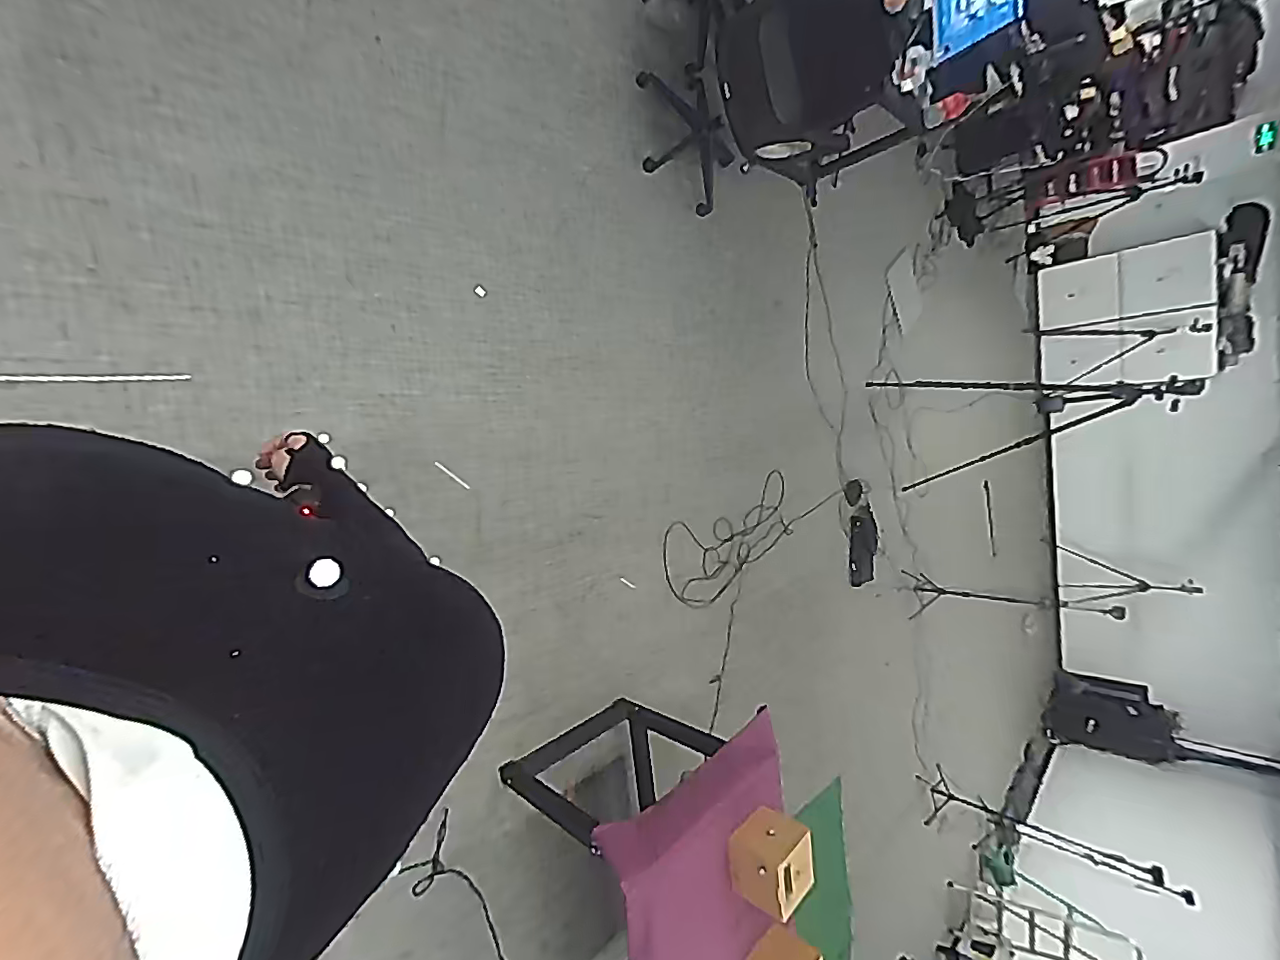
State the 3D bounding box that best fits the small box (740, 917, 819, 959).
[{"bbox_3d":[0.416,1.459,1.598,0.179,0.176,0.168,-11,97,-43],"label":"small box"}]
